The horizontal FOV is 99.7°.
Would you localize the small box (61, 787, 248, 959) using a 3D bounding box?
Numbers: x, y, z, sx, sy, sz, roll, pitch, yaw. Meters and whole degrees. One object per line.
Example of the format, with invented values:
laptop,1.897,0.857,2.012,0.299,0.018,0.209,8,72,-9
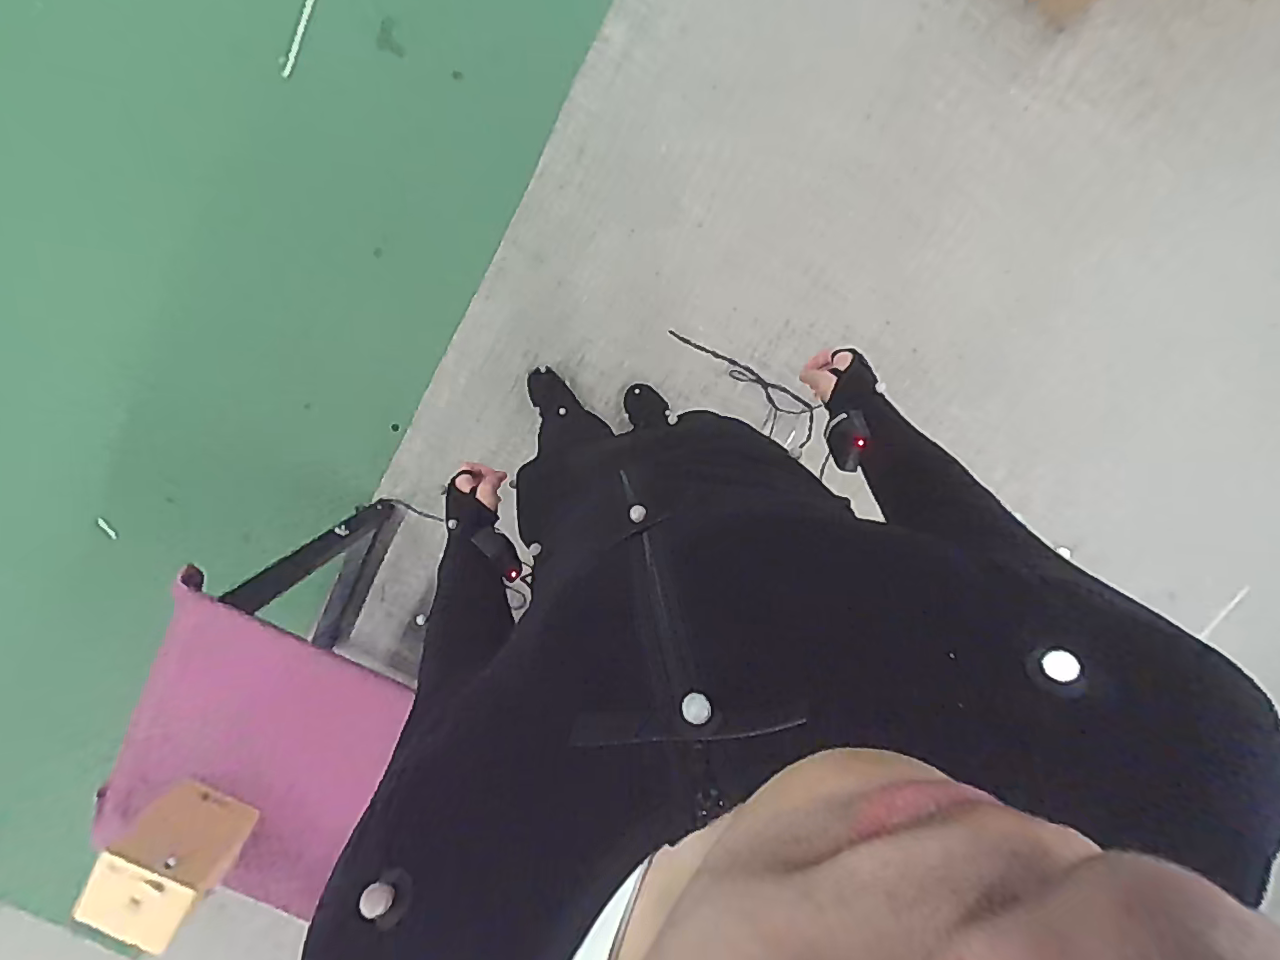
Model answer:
small box,-0.865,0.712,0.982,0.168,0.176,0.179,31,102,-8
